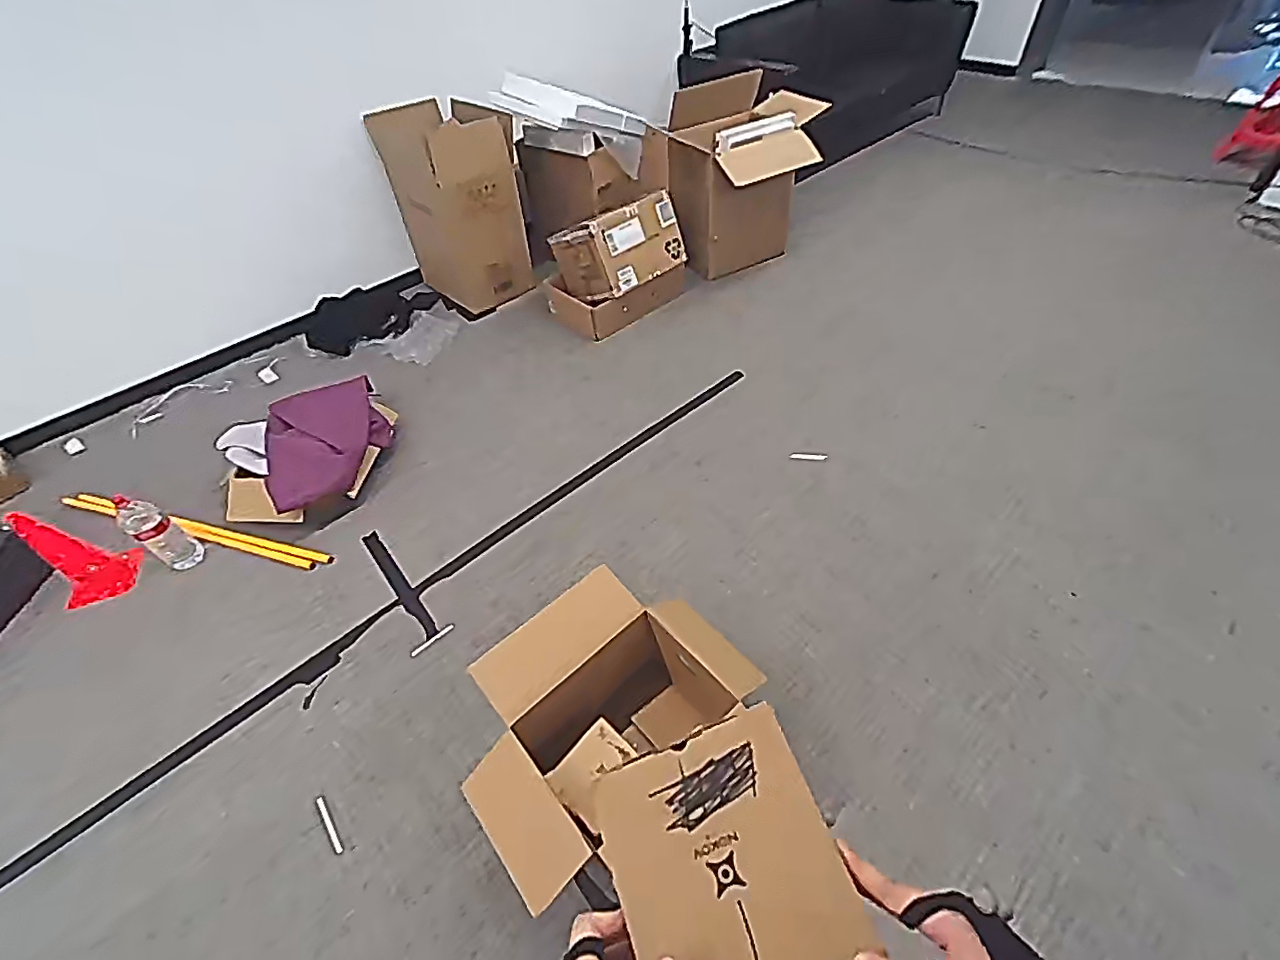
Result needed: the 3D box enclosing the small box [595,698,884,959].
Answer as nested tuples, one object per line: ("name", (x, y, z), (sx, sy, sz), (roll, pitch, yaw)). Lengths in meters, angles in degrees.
("small box", (0.077, 0.320, 0.476), (0.168, 0.176, 0.179), (-23, 59, -2))
